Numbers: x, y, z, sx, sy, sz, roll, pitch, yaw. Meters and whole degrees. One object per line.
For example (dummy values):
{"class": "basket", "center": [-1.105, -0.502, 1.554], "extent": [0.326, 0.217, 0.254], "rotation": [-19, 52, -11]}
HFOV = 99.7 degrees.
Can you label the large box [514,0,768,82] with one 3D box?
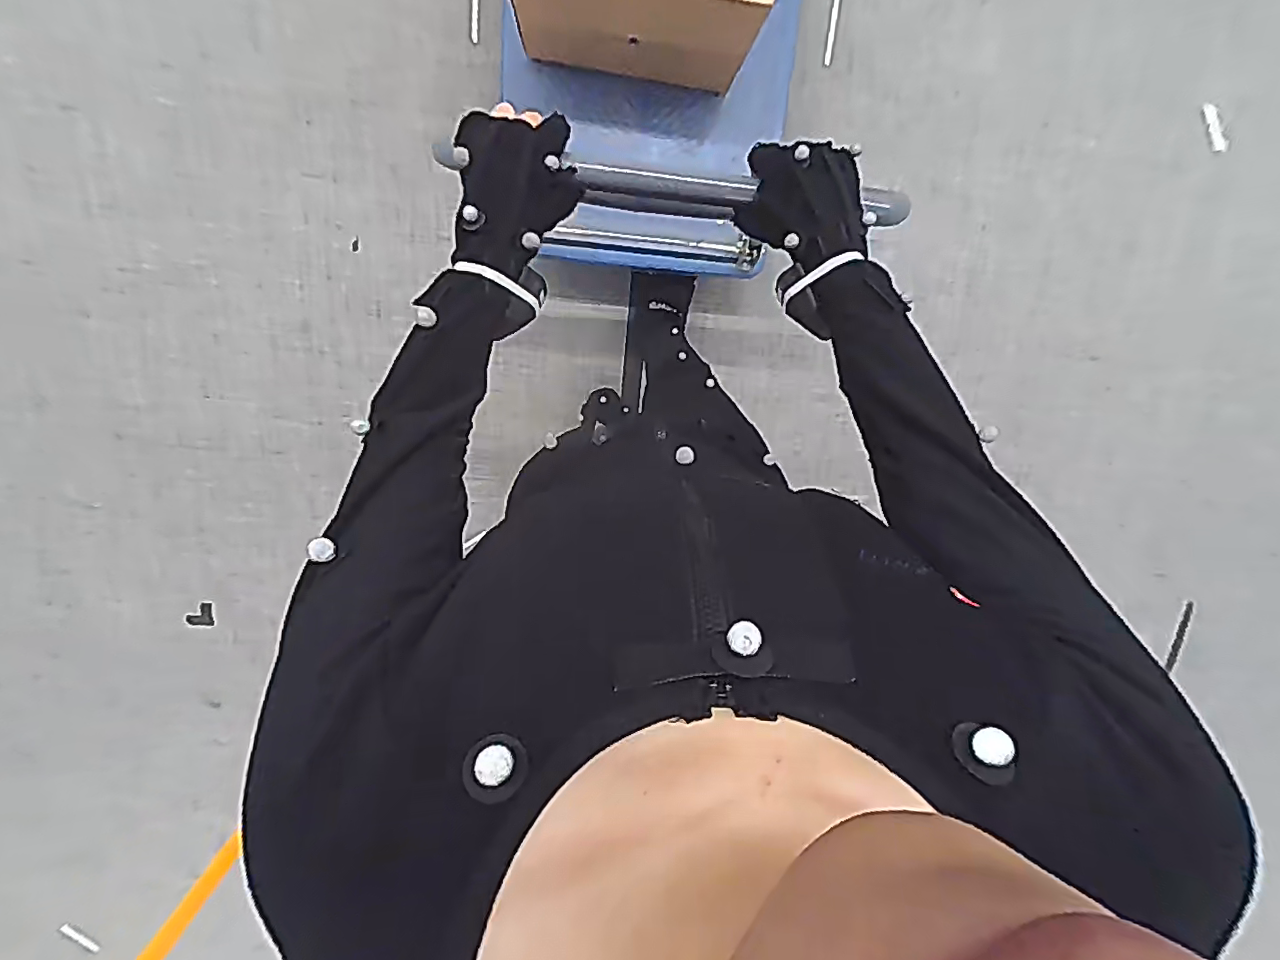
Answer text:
{"class": "large box", "center": [0.006, -0.919, 0.893], "extent": [0.408, 0.320, 0.320], "rotation": [6, 105, -5]}
